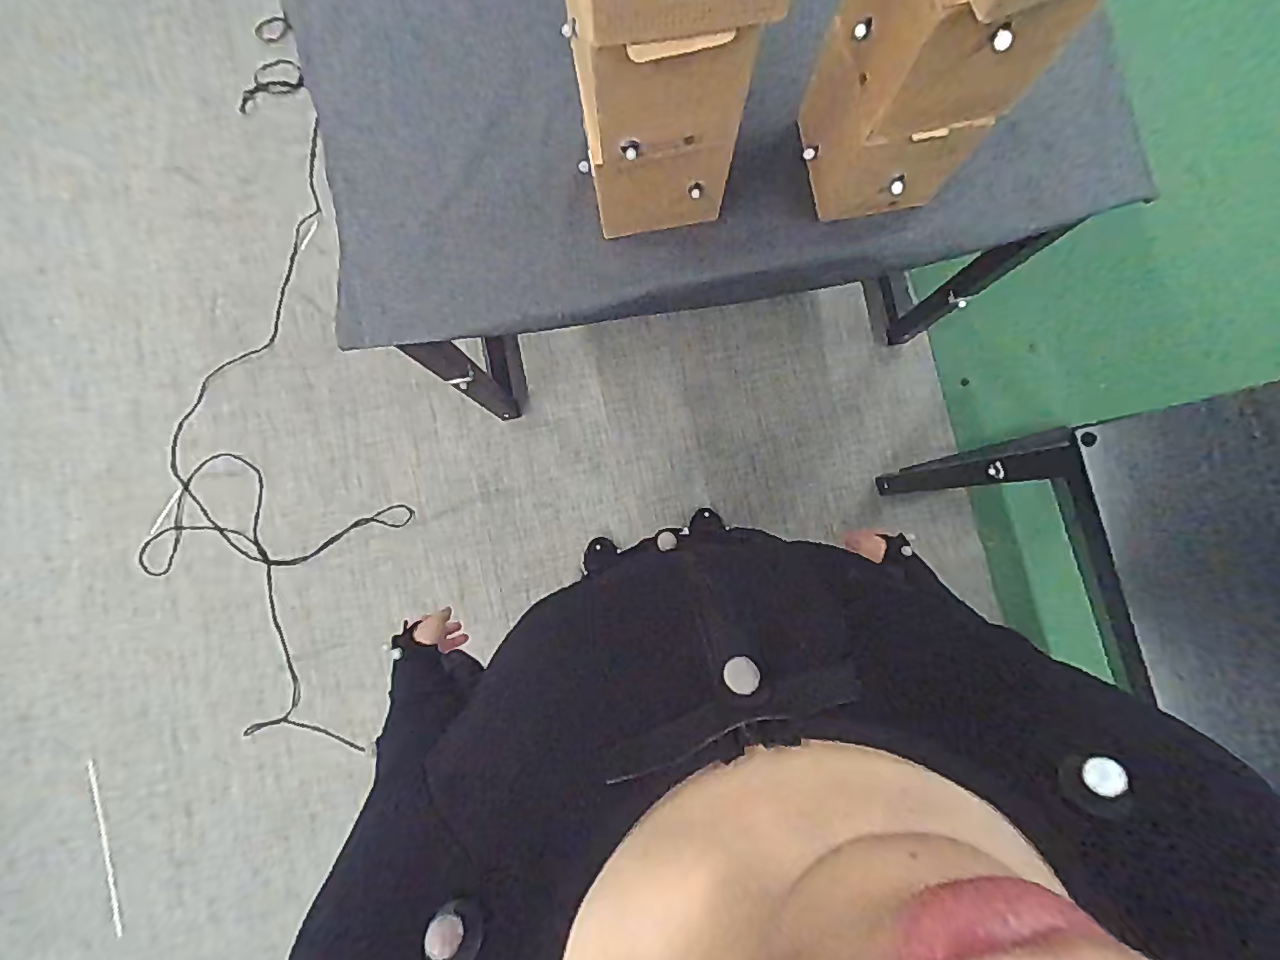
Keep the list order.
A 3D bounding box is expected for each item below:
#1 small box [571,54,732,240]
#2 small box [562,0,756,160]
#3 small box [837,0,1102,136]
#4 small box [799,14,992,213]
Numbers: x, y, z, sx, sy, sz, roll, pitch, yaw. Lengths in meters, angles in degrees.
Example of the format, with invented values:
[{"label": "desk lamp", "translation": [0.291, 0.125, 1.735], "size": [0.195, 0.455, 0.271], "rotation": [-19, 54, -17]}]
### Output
[{"label": "small box", "translation": [0.015, -0.458, 0.736], "size": [0.179, 0.176, 0.168], "rotation": [-11, 84, 1]}, {"label": "small box", "translation": [0.011, -0.475, 0.573], "size": [0.168, 0.176, 0.179], "rotation": [-14, 83, -1]}, {"label": "small box", "translation": [0.334, -0.506, 0.568], "size": [0.179, 0.176, 0.168], "rotation": [-12, 84, 1]}, {"label": "small box", "translation": [0.329, -0.488, 0.730], "size": [0.168, 0.176, 0.179], "rotation": [-10, 85, 1]}]
